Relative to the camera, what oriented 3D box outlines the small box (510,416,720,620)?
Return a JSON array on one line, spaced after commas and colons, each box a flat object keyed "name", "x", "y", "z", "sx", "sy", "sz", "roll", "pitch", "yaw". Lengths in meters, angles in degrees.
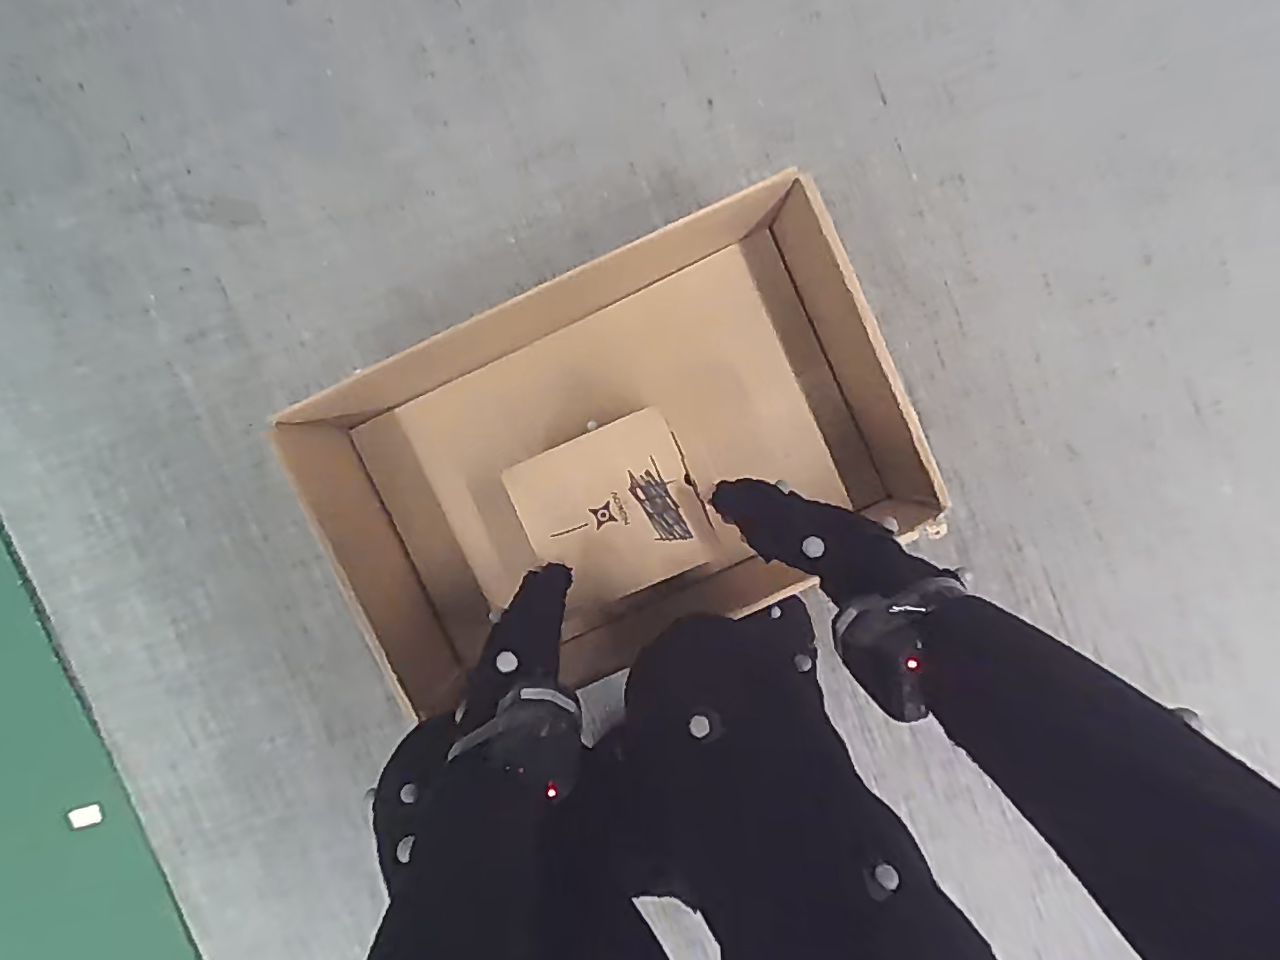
[{"name": "small box", "x": -0.024, "y": 0.035, "z": 0.632, "sx": 0.179, "sy": 0.176, "sz": 0.168, "roll": -22, "pitch": 91, "yaw": 3}]
